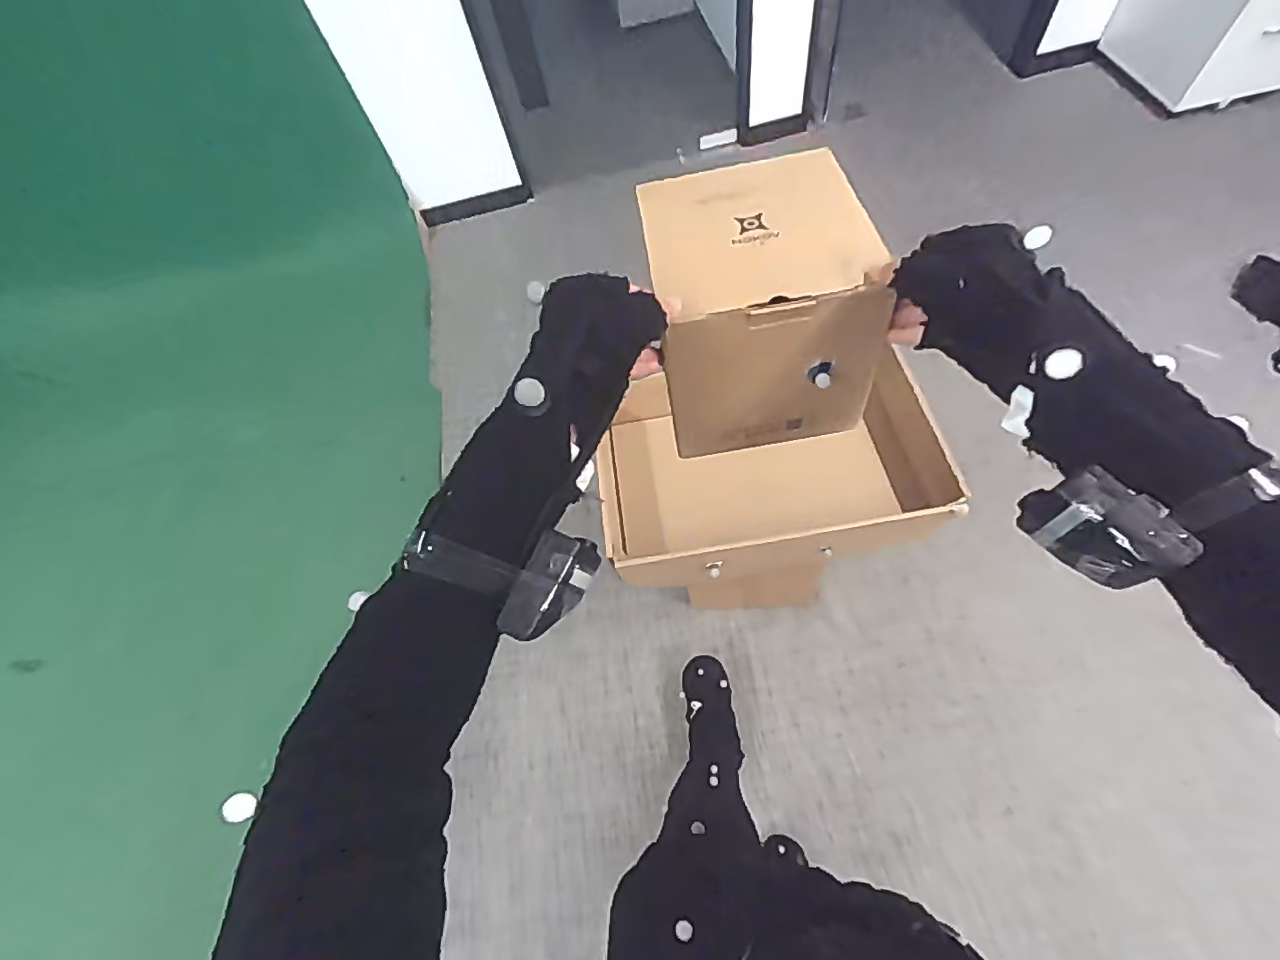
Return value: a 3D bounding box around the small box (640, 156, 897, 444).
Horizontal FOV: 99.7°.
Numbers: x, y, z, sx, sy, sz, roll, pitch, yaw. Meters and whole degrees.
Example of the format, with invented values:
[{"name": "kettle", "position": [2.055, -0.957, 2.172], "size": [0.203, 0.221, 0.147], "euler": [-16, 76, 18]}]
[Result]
[{"name": "small box", "position": [0.099, -0.147, 0.481], "size": [0.168, 0.176, 0.179], "euler": [-9, 55, 3]}]
